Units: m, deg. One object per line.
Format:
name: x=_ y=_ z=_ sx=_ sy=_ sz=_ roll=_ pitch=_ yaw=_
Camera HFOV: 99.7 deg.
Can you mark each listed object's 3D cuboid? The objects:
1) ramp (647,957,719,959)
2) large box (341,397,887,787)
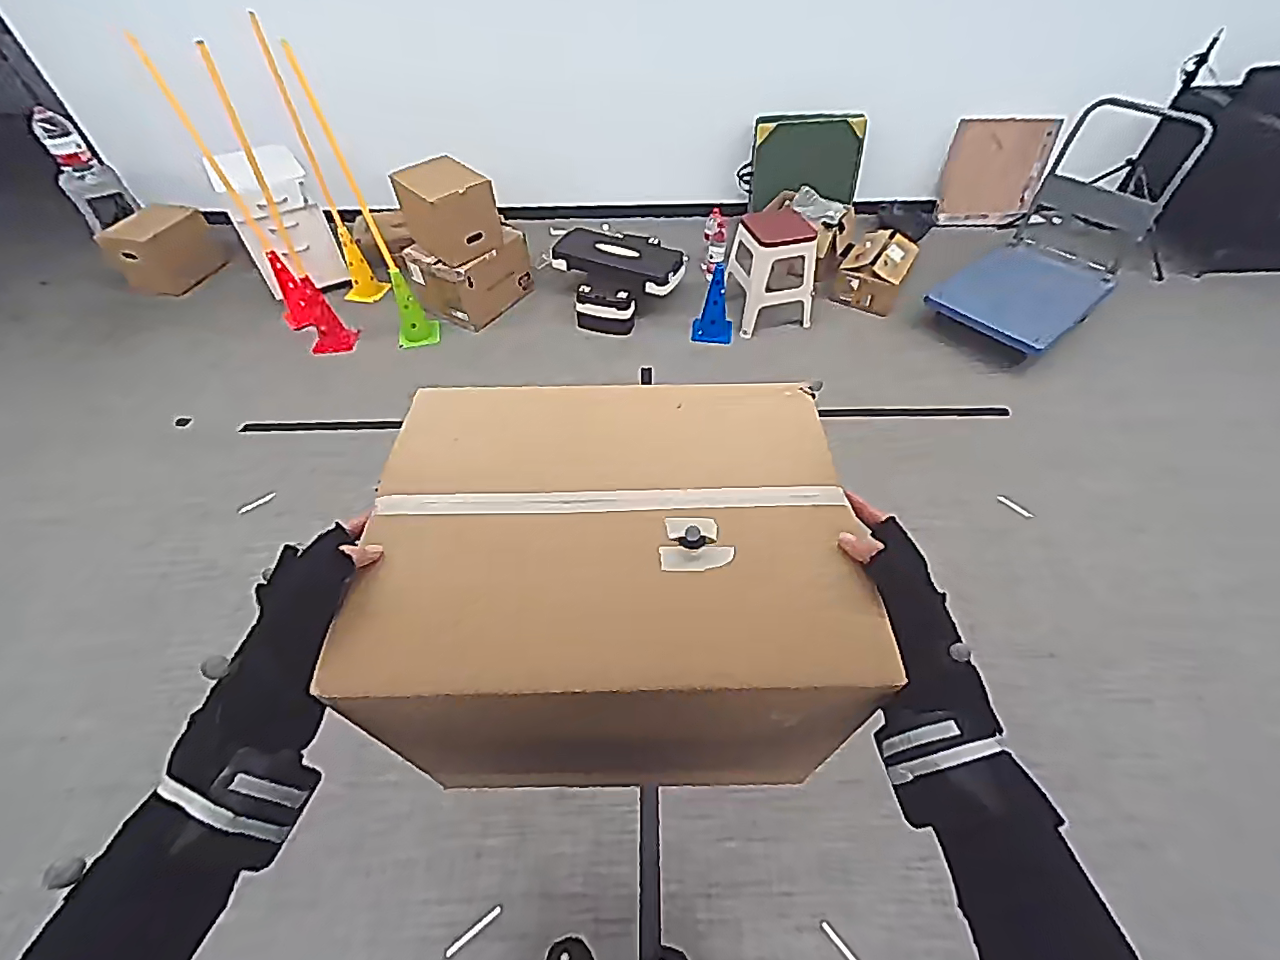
ramp: x=-0.056 y=1.418 z=0.862 sx=0.509 sy=0.206 sz=0.991 roll=-2 pitch=51 yaw=-2
large box: x=-0.022 y=0.127 z=0.595 sx=0.408 sy=0.320 sz=0.320 roll=-1 pitch=50 yaw=0
